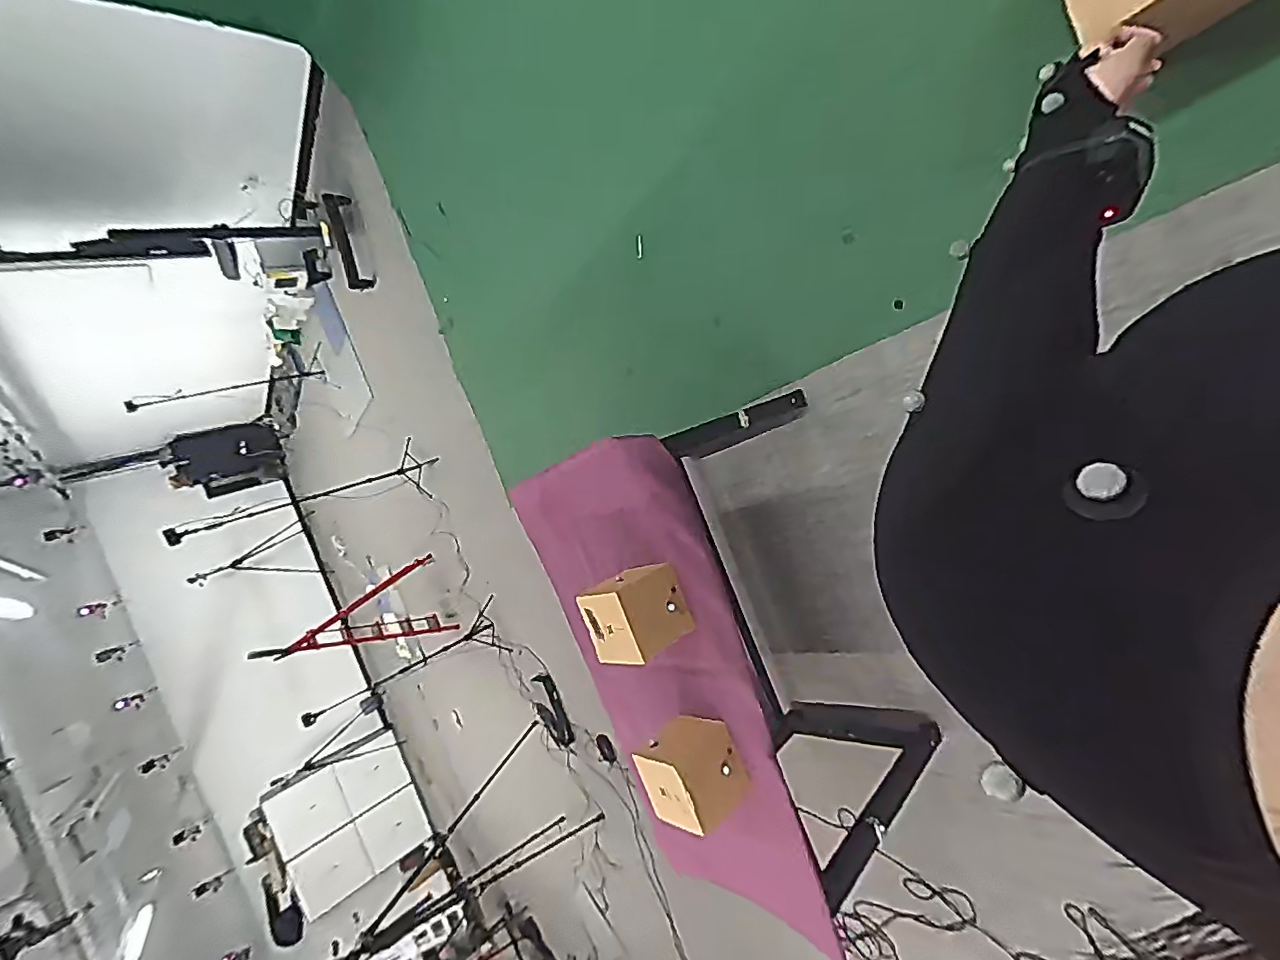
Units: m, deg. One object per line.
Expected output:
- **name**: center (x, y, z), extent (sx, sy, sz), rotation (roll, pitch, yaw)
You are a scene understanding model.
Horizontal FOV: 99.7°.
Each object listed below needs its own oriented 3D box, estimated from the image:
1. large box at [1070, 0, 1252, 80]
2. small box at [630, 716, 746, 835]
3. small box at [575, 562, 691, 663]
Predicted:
- **large box**: center (0.847, -0.883, 0.760), extent (0.408, 0.320, 0.320), rotation (-19, 93, 50)
- **small box**: center (0.111, 0.673, 1.258), extent (0.179, 0.176, 0.168), rotation (-23, 90, 52)
- **small box**: center (-0.015, 0.299, 1.235), extent (0.179, 0.176, 0.168), rotation (-21, 91, 51)
